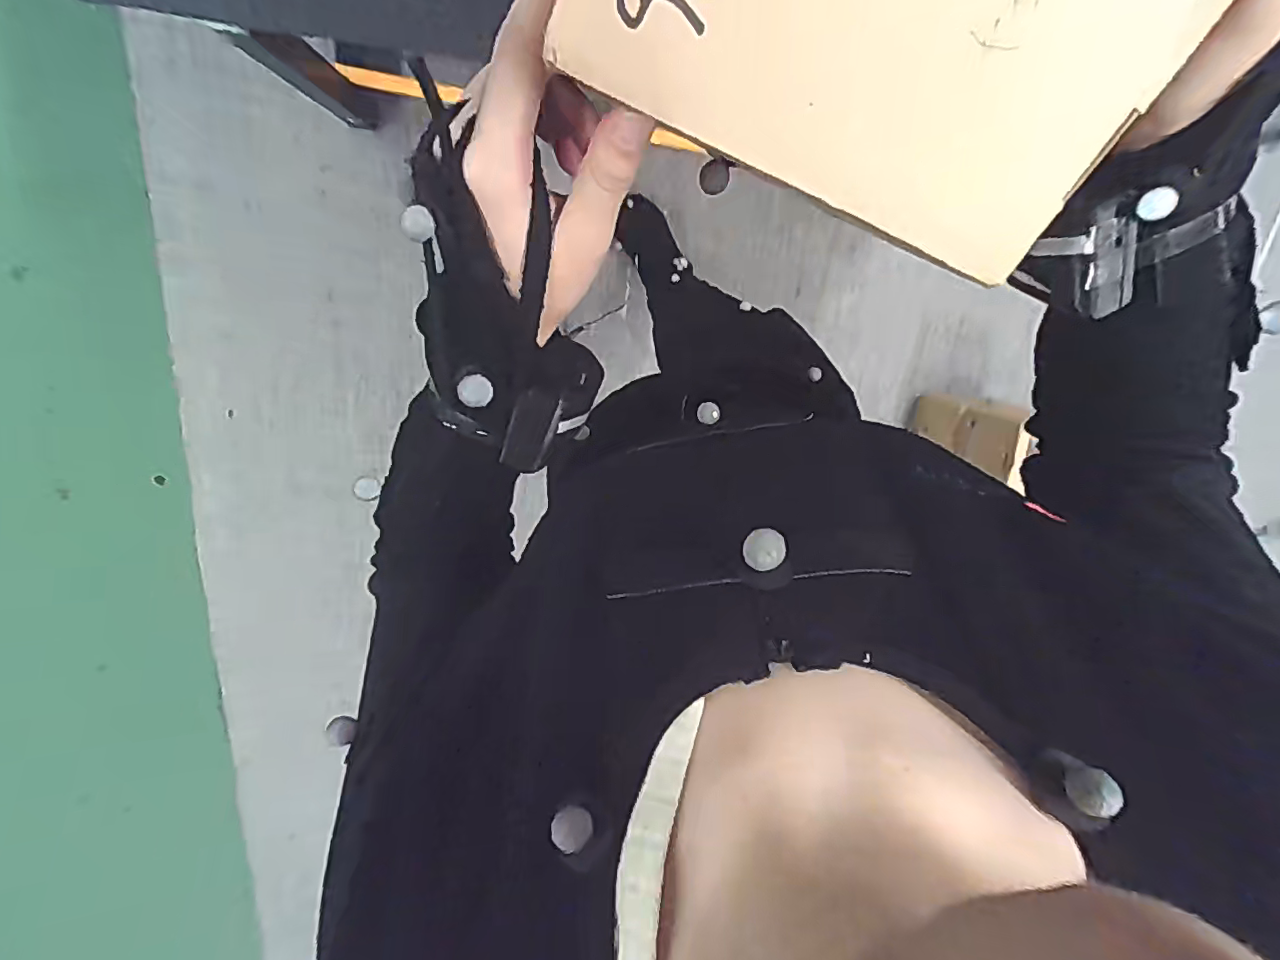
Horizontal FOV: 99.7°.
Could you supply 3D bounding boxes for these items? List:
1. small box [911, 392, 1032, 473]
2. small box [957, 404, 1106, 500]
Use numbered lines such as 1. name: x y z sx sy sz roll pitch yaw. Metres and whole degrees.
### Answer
1. small box: 0.788 -0.116 1.296 0.179 0.176 0.168 1 107 -4
2. small box: 0.811 -0.064 1.142 0.179 0.176 0.168 0 108 -6
